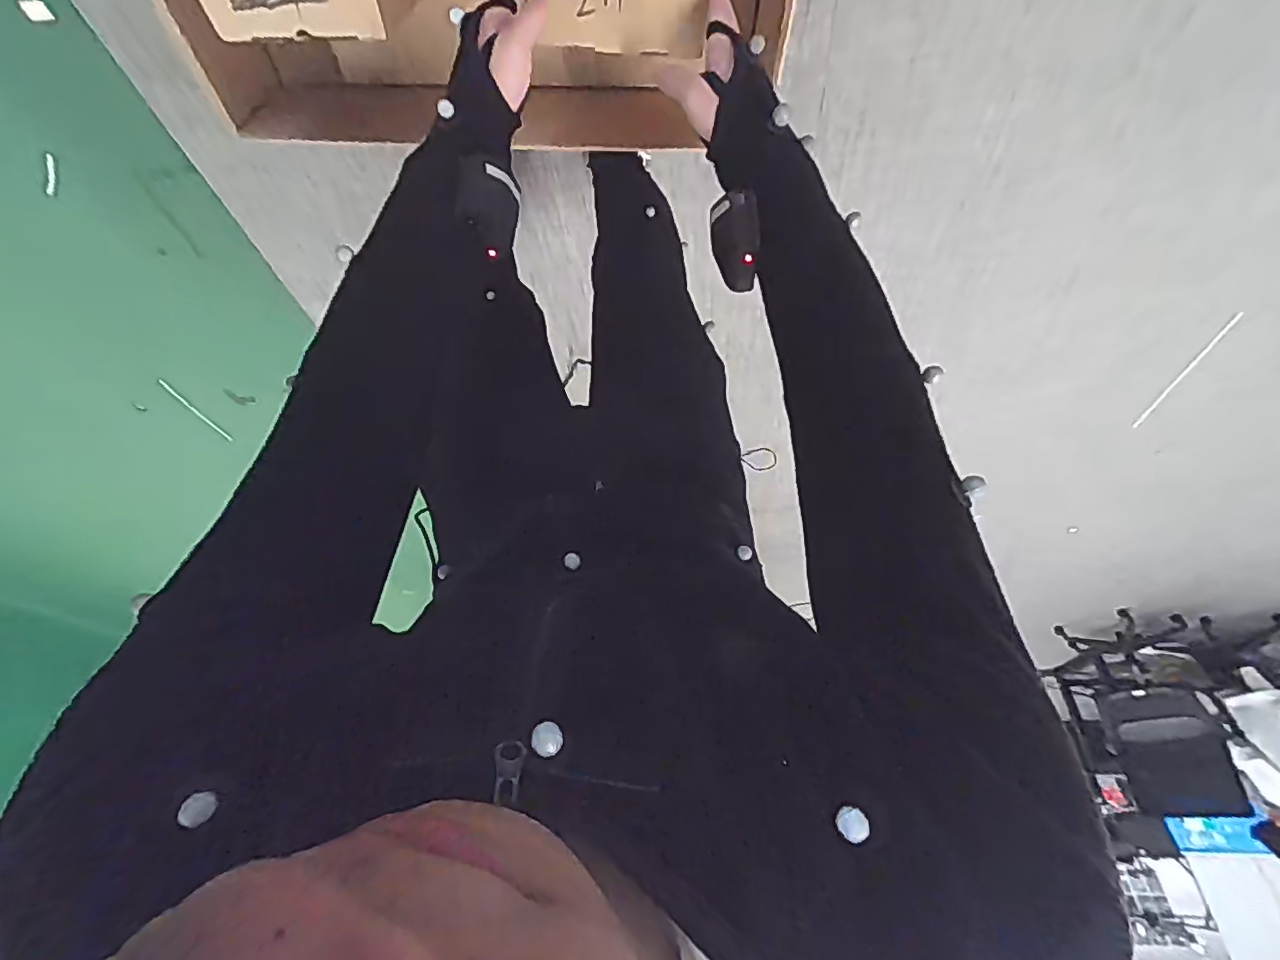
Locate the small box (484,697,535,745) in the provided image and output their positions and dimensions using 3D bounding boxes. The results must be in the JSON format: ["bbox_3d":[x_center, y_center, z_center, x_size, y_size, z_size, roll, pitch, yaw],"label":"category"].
[{"bbox_3d":[-0.547,1.025,2.292,0.168,0.176,0.179,-3,149,3],"label":"small box"}]

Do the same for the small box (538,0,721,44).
[{"bbox_3d":[-0.004,-0.525,0.472,0.168,0.176,0.179,3,147,-2],"label":"small box"}]
